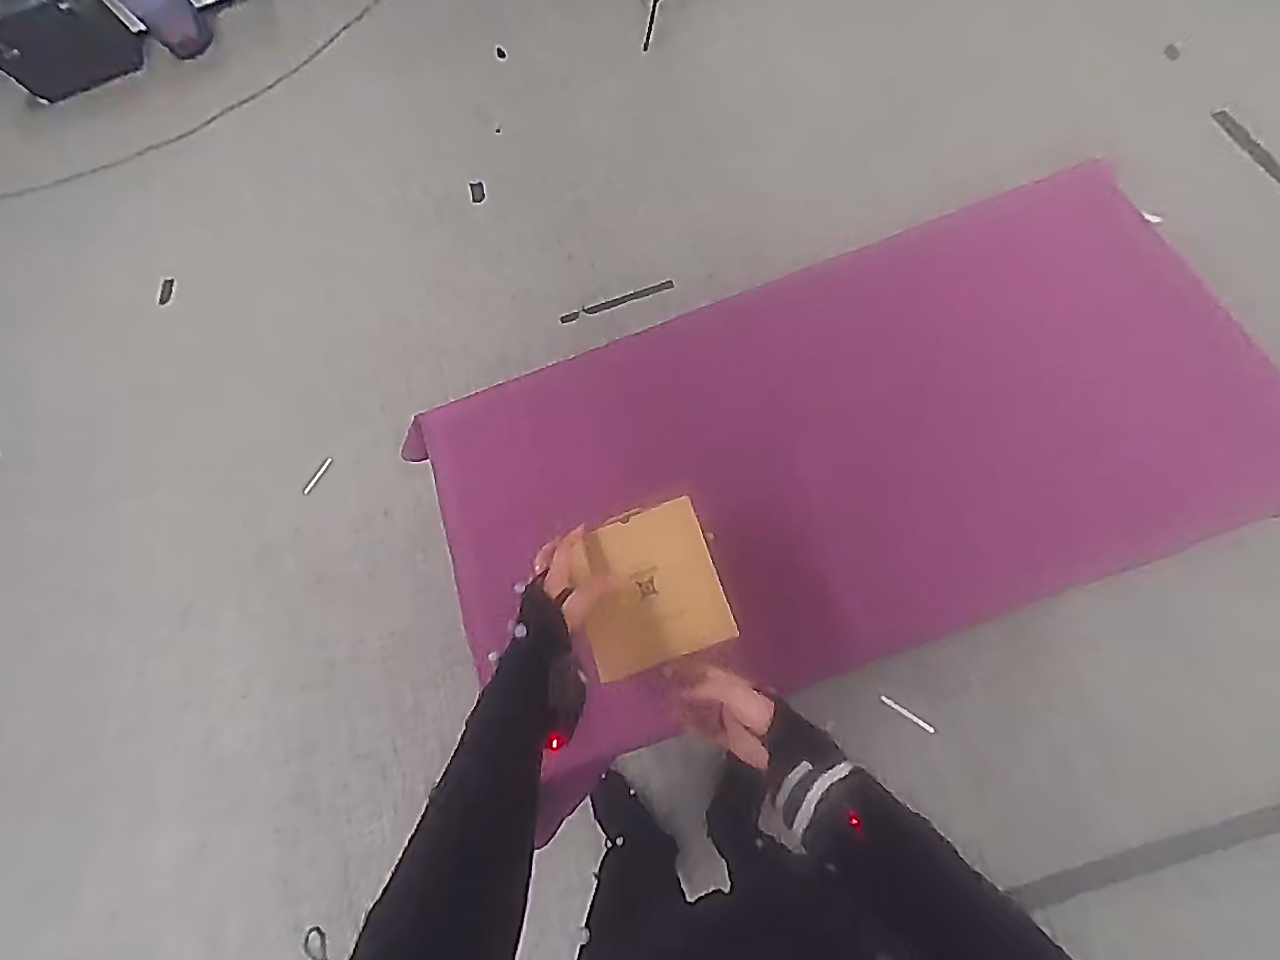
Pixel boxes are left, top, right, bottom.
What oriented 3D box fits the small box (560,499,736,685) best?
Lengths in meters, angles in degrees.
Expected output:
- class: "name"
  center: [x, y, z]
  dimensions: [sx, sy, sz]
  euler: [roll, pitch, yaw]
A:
- class: "small box"
  center: [0.015, 0.148, 0.694]
  dimensions: [0.168, 0.176, 0.179]
  euler: [-20, 71, 3]
